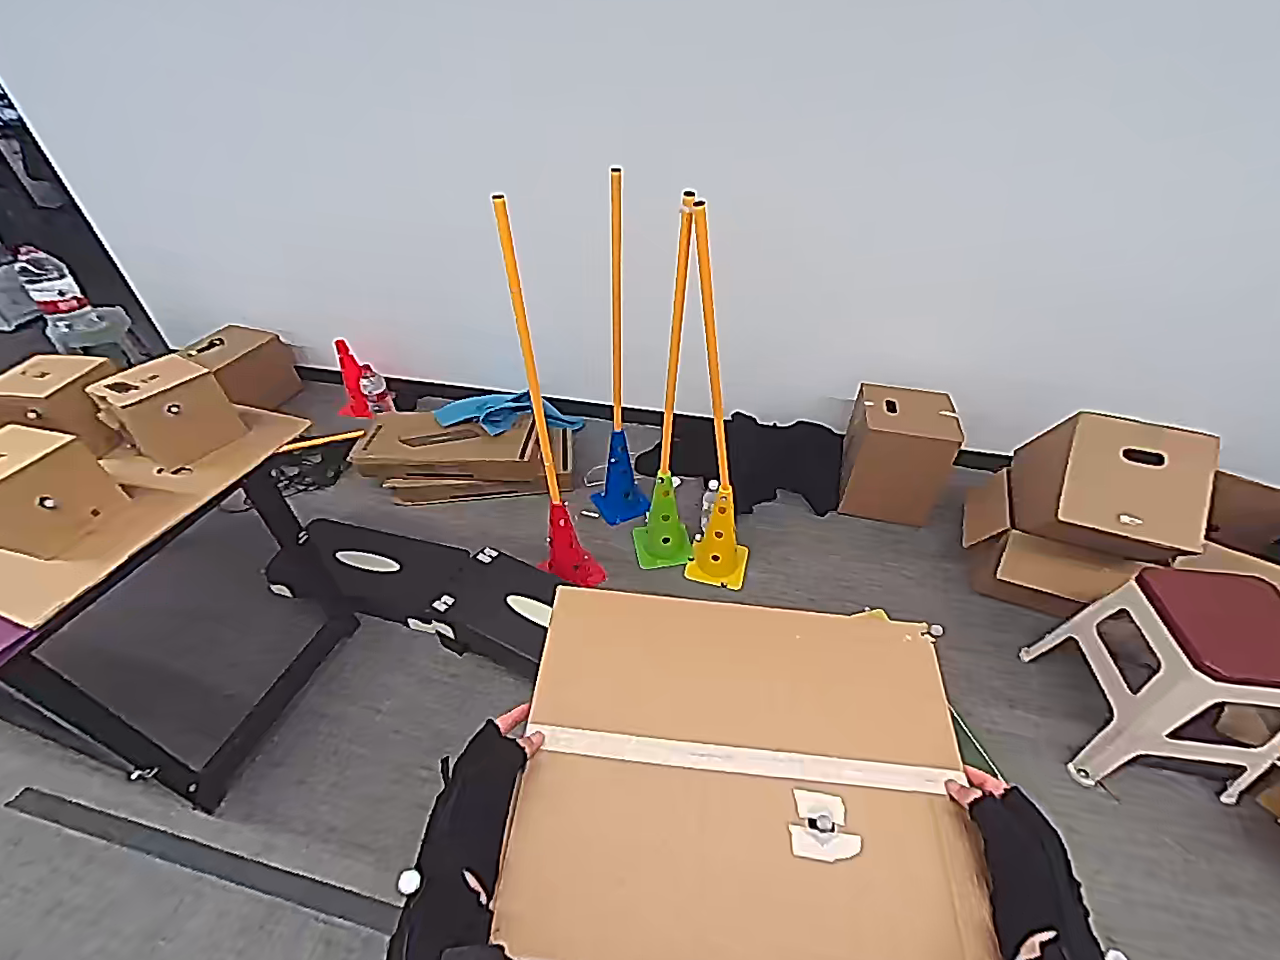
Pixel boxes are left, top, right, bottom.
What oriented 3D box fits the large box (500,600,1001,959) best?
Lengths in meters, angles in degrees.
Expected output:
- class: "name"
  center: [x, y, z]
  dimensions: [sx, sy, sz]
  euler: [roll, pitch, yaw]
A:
- class: "large box"
  center: [0.093, 0.363, 0.624]
  dimensions: [0.408, 0.320, 0.320]
  euler: [6, 52, 3]
